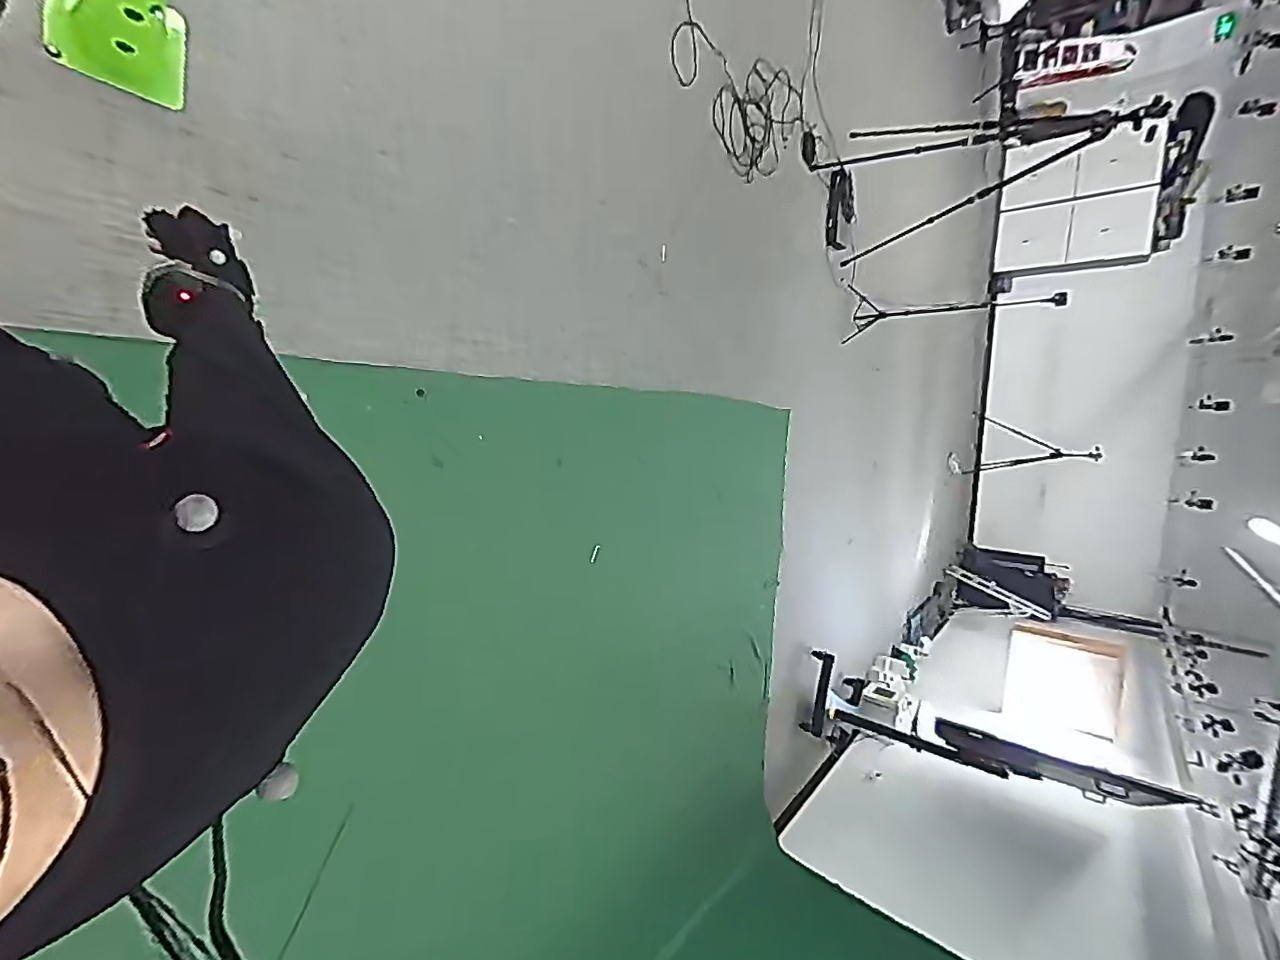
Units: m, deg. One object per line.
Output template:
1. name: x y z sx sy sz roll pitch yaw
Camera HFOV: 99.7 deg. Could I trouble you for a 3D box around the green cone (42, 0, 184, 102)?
1. green cone: -0.889 -0.868 0.947 0.200 0.368 0.202 -2 96 -50
